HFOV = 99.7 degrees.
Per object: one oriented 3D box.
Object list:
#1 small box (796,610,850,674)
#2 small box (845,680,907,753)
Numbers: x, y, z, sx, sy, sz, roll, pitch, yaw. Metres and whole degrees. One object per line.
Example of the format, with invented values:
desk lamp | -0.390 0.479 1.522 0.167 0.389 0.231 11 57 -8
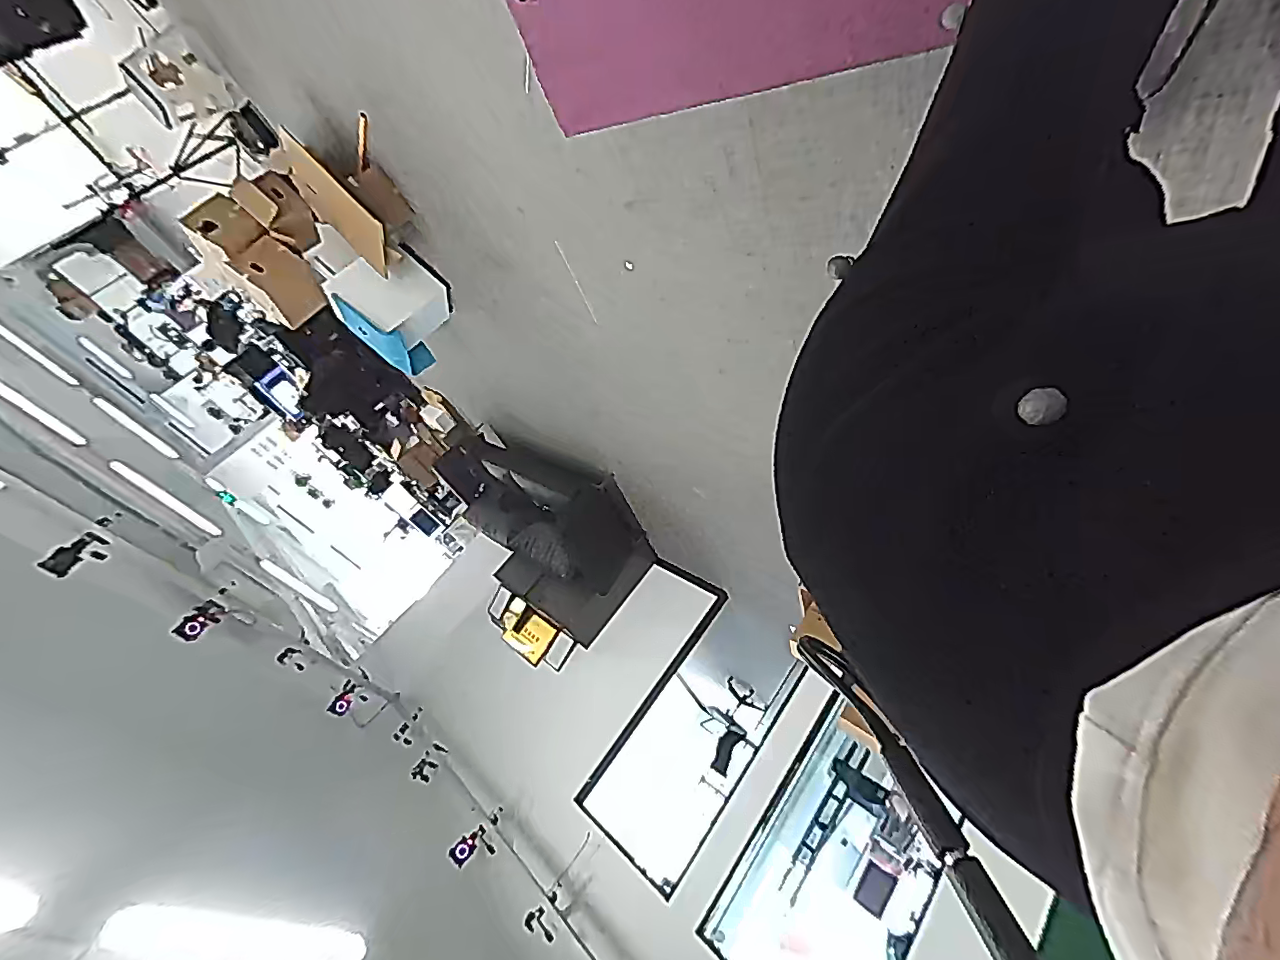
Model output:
small box | 0.786 0.688 2.317 0.168 0.176 0.179 27 155 36
small box | 0.905 0.907 2.077 0.168 0.176 0.179 25 154 35
